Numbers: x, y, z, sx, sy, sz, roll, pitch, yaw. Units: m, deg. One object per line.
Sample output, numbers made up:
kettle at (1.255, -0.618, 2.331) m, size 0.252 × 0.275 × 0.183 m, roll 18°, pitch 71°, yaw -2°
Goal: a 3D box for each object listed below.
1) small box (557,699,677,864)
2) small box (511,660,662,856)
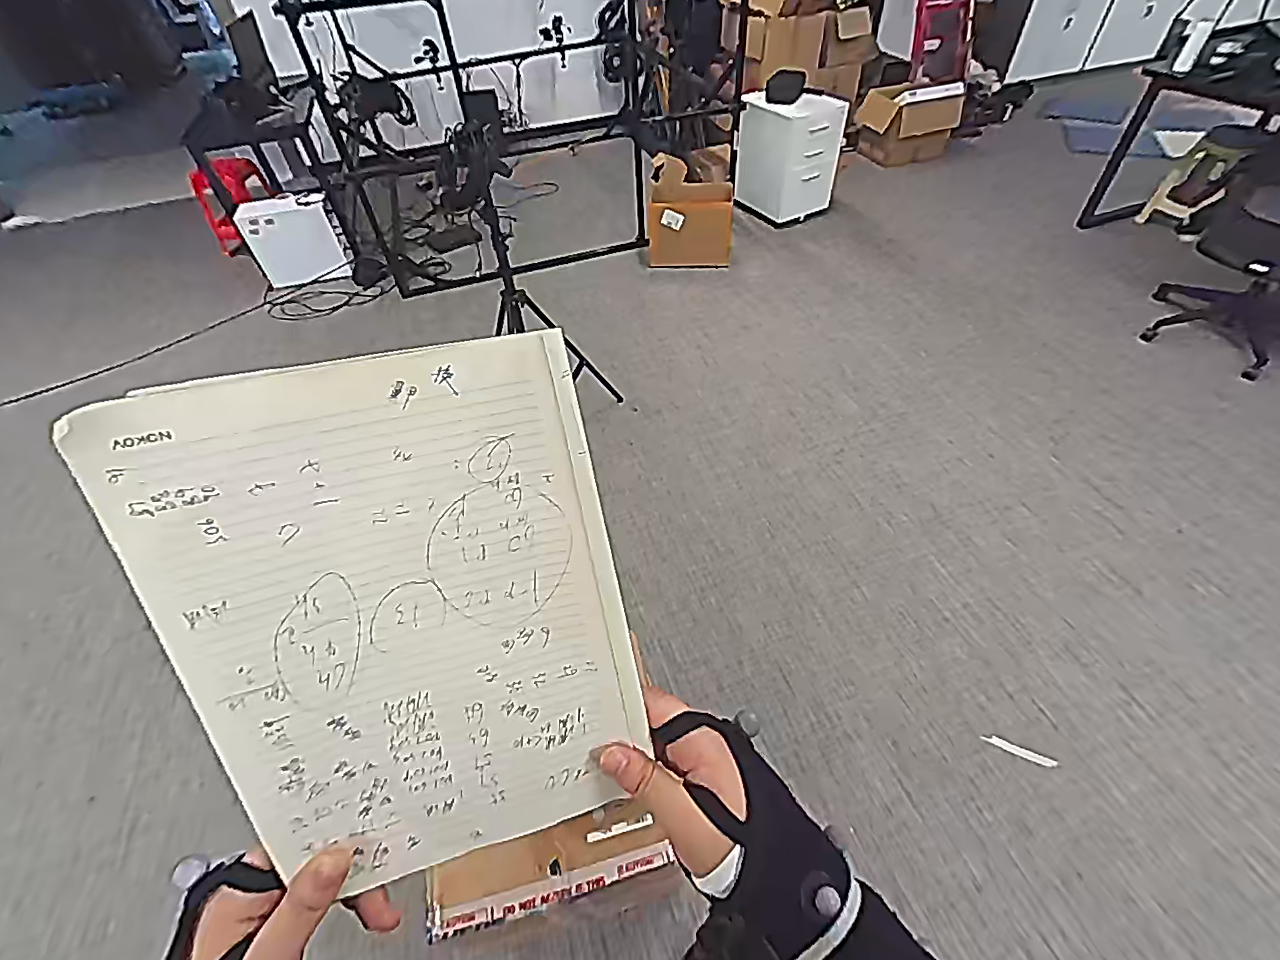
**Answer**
small box at (-0.053, 0.471, 0.844) m, size 0.179 × 0.176 × 0.168 m, roll -13°, pitch 49°, yaw -10°
small box at (-0.073, 0.368, 0.716) m, size 0.168 × 0.176 × 0.179 m, roll -9°, pitch 50°, yaw -8°
